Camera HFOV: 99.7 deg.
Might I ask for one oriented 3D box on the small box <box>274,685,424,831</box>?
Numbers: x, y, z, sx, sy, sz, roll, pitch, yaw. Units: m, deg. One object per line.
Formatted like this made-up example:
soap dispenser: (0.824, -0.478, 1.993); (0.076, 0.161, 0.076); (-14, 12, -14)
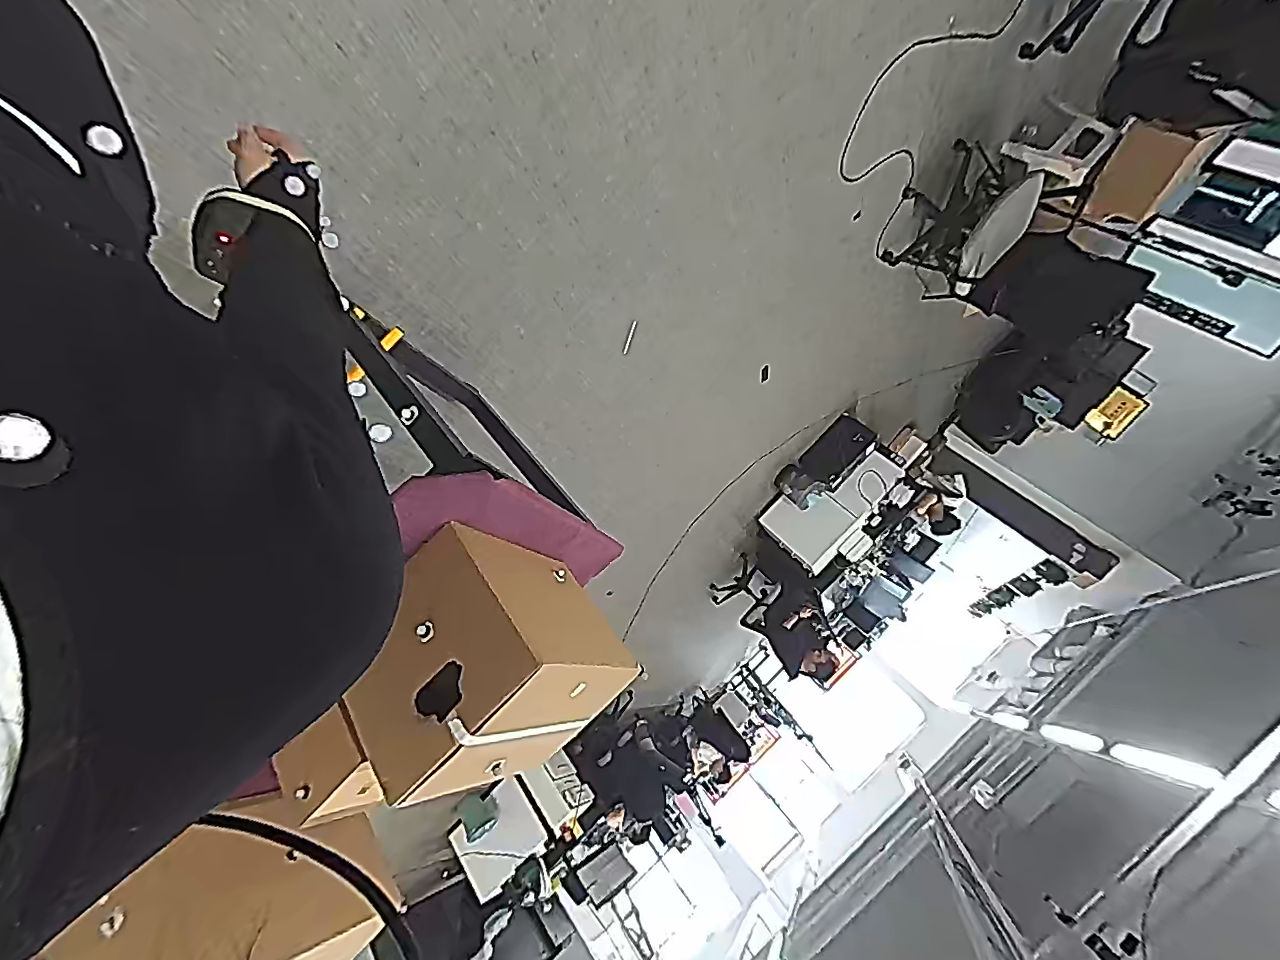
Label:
small box: (-0.562, 0.521, 1.037); (0.179, 0.176, 0.168); (-46, 152, 1)

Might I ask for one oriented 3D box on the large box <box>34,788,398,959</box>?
large box: (-0.770, 0.827, 1.022); (0.320, 0.320, 0.408); (-45, 153, 1)
